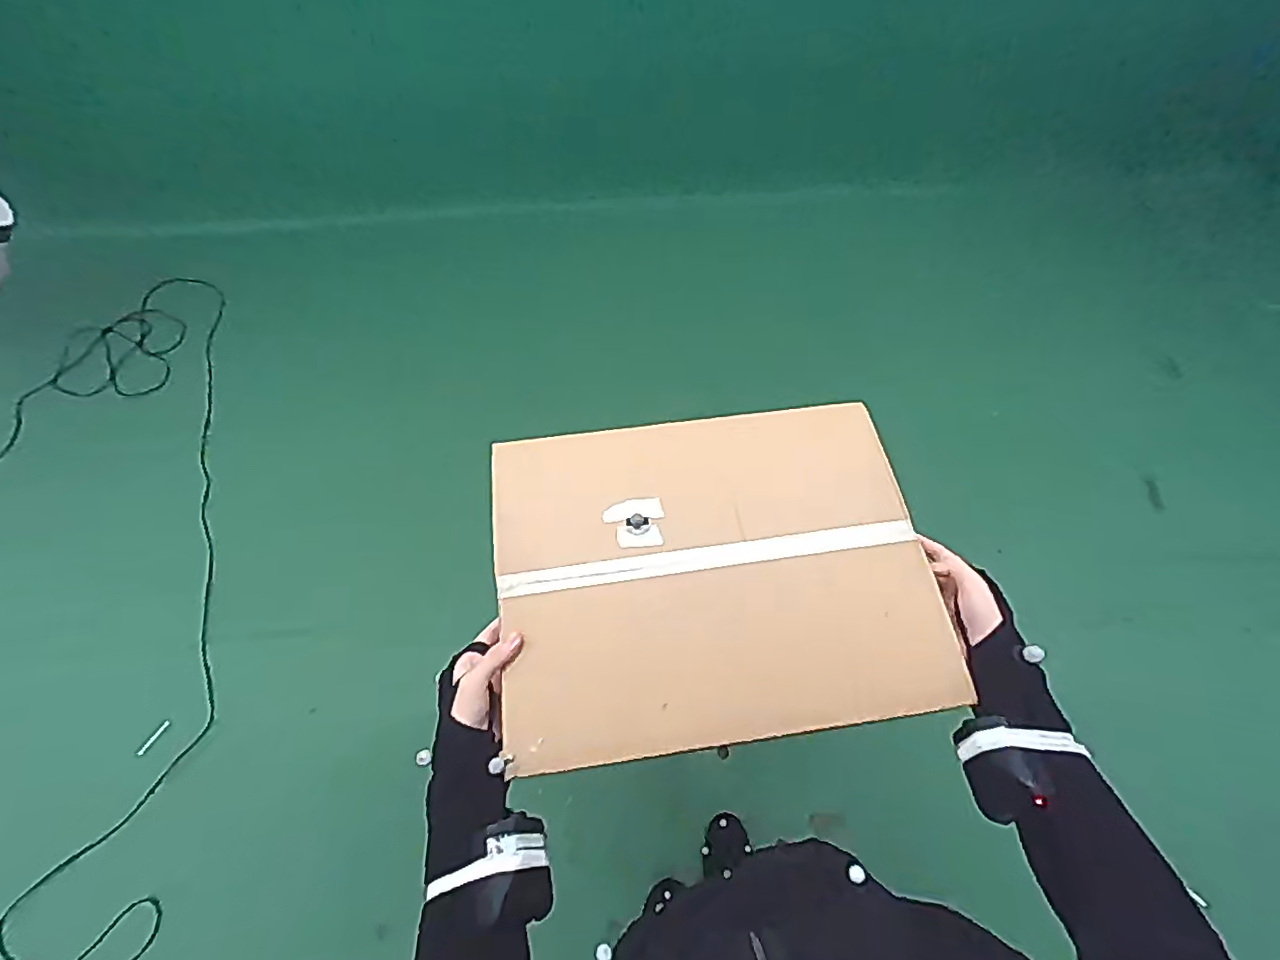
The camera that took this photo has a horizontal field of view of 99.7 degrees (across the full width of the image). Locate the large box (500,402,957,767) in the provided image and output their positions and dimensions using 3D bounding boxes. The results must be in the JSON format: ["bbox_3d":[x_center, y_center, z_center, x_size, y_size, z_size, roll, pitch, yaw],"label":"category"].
[{"bbox_3d":[0.070,0.138,0.666,0.408,0.320,0.320,-8,65,-3],"label":"large box"}]
